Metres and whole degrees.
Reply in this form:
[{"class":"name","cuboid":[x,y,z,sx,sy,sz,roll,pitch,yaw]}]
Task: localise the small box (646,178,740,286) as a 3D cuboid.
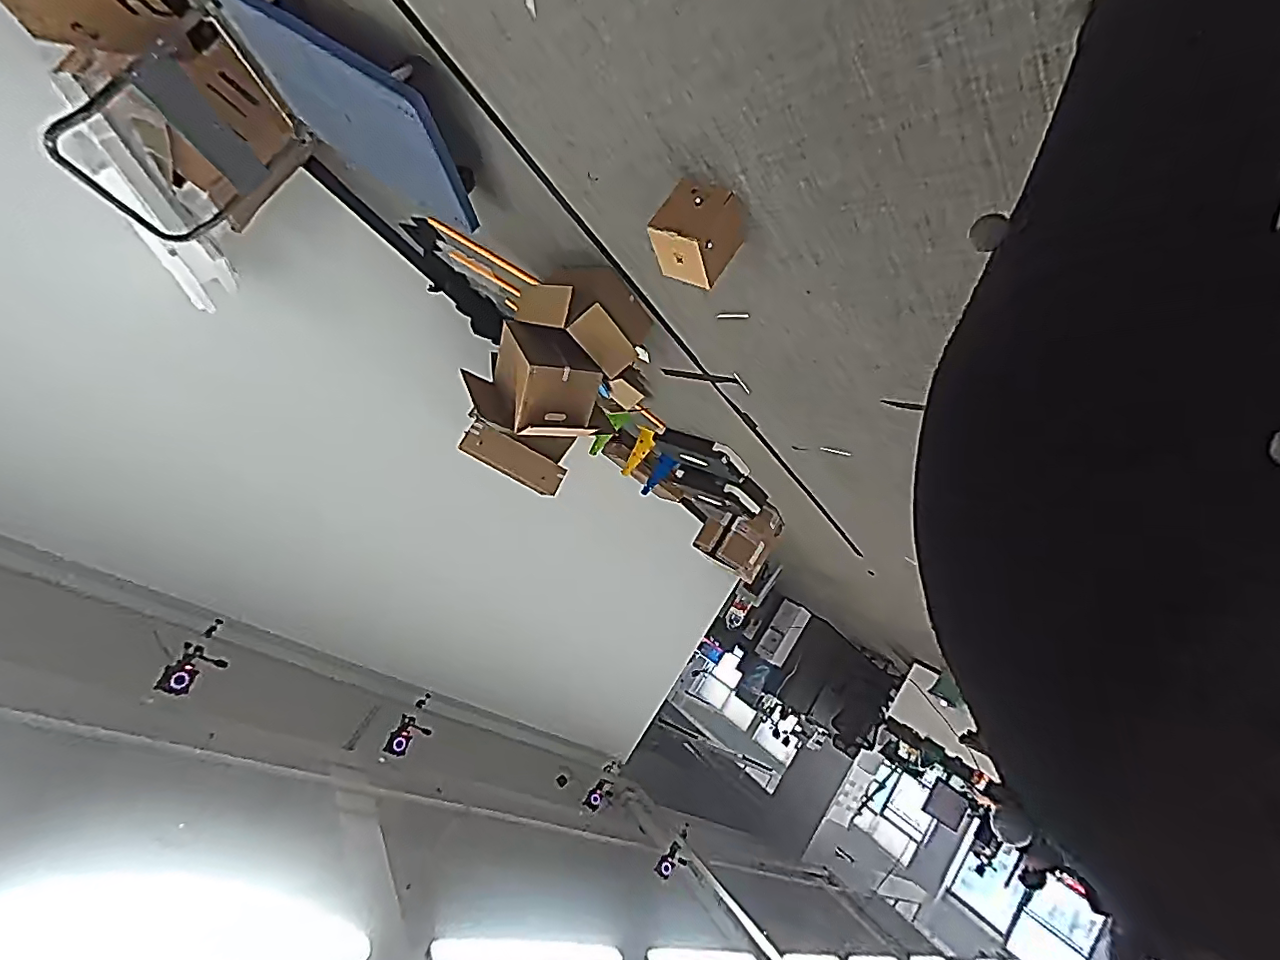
[{"class":"small box","cuboid":[0.148,-0.658,1.438,0.168,0.176,0.179,30,169,28]}]
